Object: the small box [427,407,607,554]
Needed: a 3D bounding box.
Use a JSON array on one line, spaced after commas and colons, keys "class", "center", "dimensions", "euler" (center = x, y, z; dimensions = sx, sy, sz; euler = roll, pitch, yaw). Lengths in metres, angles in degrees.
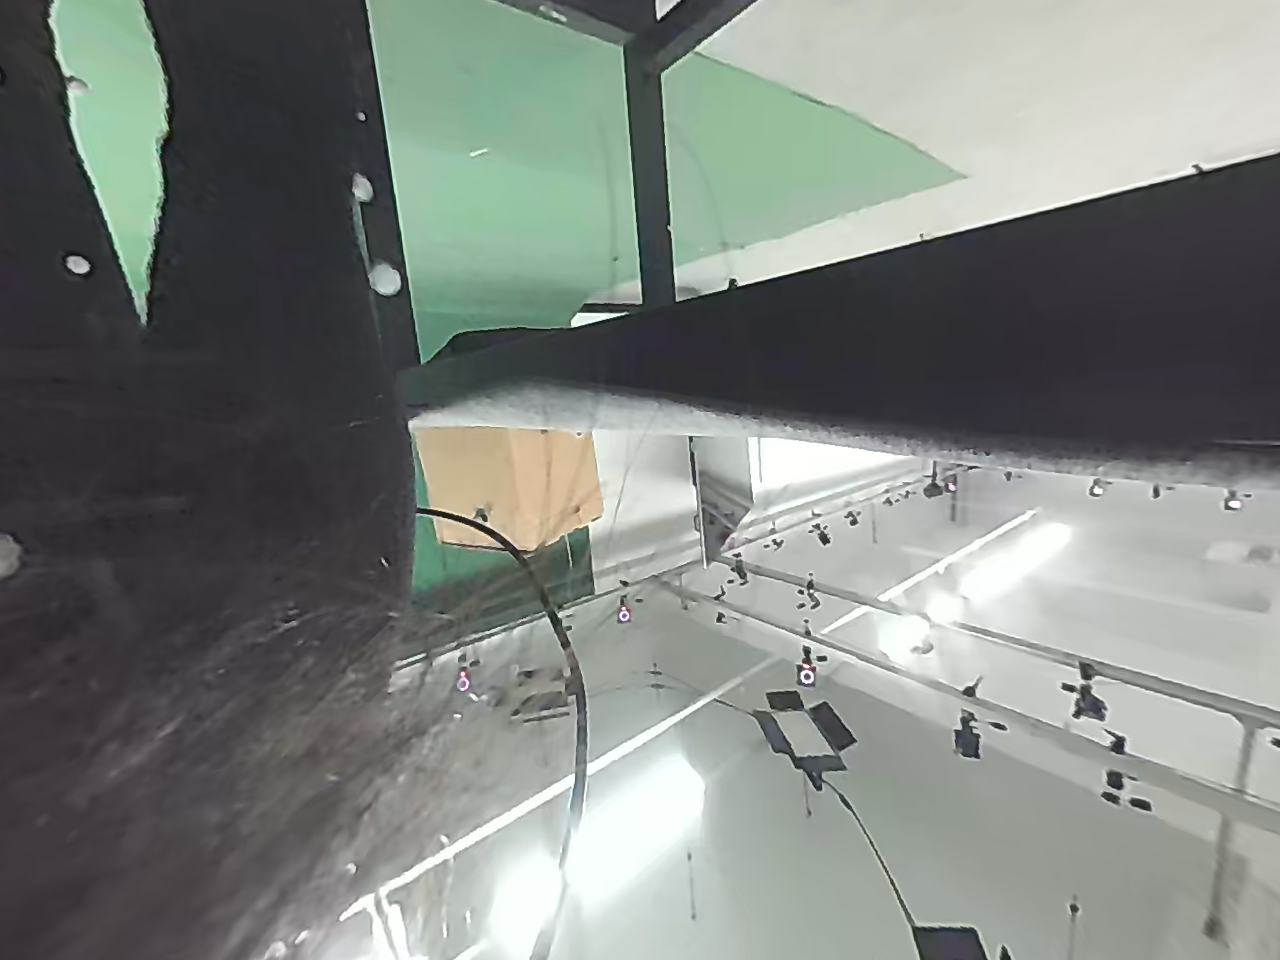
[{"class": "small box", "center": [-0.172, -0.007, 0.759], "dimensions": [0.179, 0.176, 0.168], "euler": [0, -166, 32]}]
